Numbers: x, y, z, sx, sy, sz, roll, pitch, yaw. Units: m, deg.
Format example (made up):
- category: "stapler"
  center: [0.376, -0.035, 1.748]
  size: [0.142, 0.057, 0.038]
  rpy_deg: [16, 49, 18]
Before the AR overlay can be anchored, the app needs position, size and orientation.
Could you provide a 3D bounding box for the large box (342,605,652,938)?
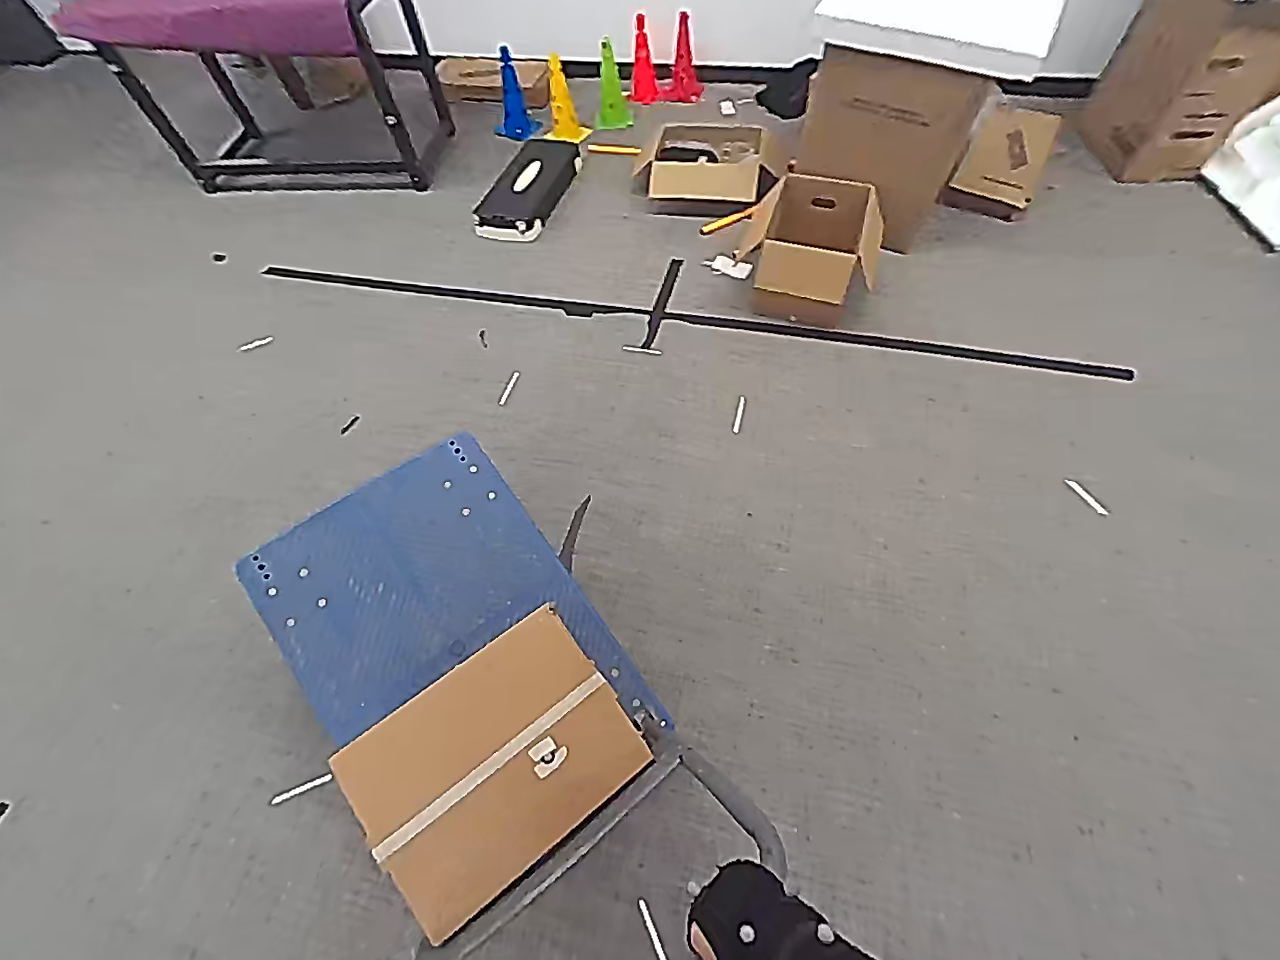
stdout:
- category: "large box"
  center: [-0.245, 0.497, 1.013]
  size: [0.408, 0.320, 0.320]
  rpy_deg: [-35, 80, -19]
